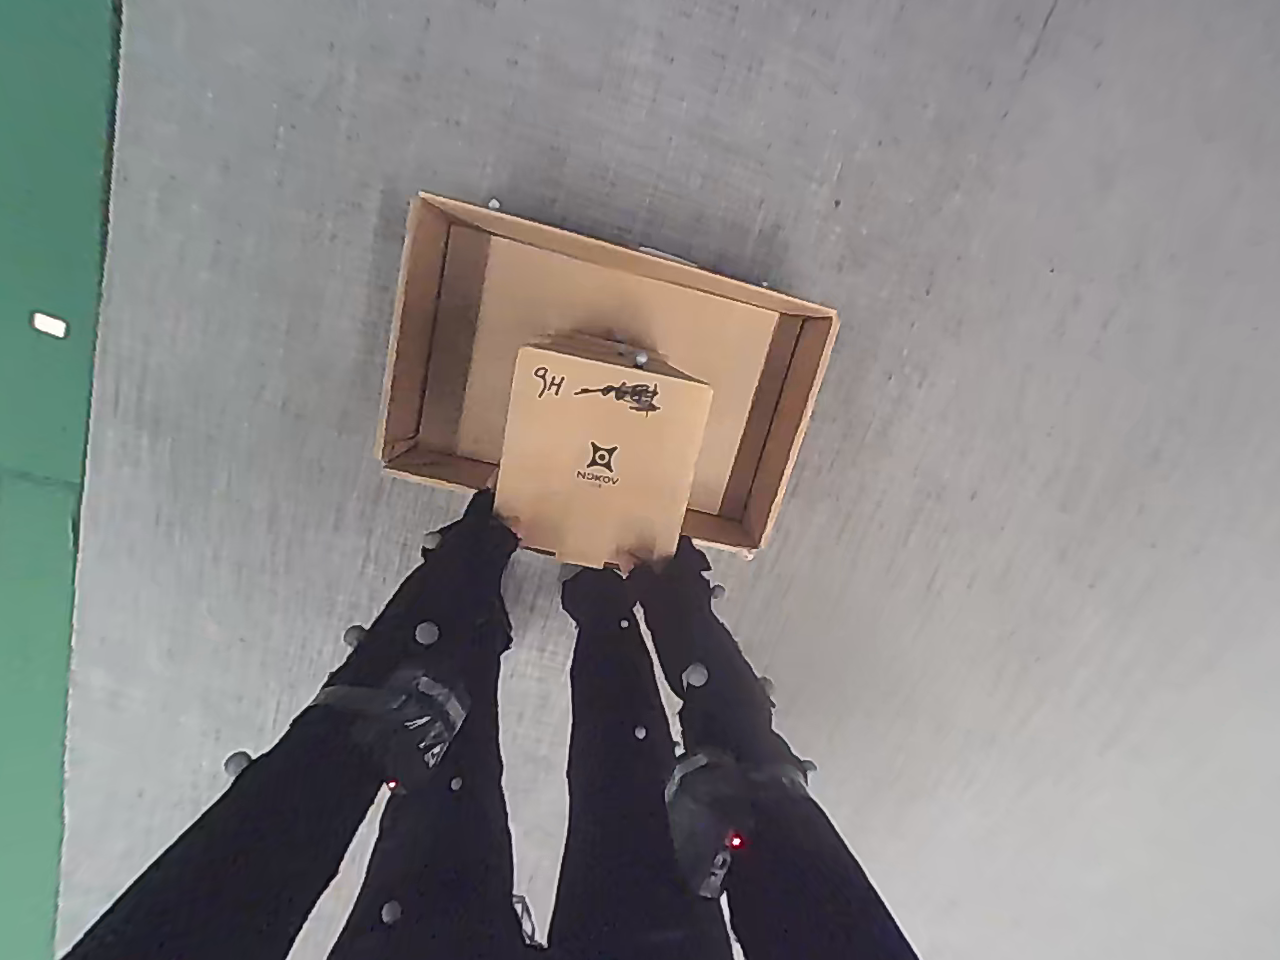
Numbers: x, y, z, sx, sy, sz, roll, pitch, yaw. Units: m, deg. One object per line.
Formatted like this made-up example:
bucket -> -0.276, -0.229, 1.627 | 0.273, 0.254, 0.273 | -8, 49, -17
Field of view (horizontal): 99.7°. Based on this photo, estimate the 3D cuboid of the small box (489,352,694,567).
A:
small box -> -0.047, -0.032, 0.566 | 0.168, 0.176, 0.179 | 10, 103, -4

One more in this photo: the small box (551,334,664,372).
small box -> -0.066, -0.125, 0.860 | 0.168, 0.176, 0.179 | 12, 103, -6
